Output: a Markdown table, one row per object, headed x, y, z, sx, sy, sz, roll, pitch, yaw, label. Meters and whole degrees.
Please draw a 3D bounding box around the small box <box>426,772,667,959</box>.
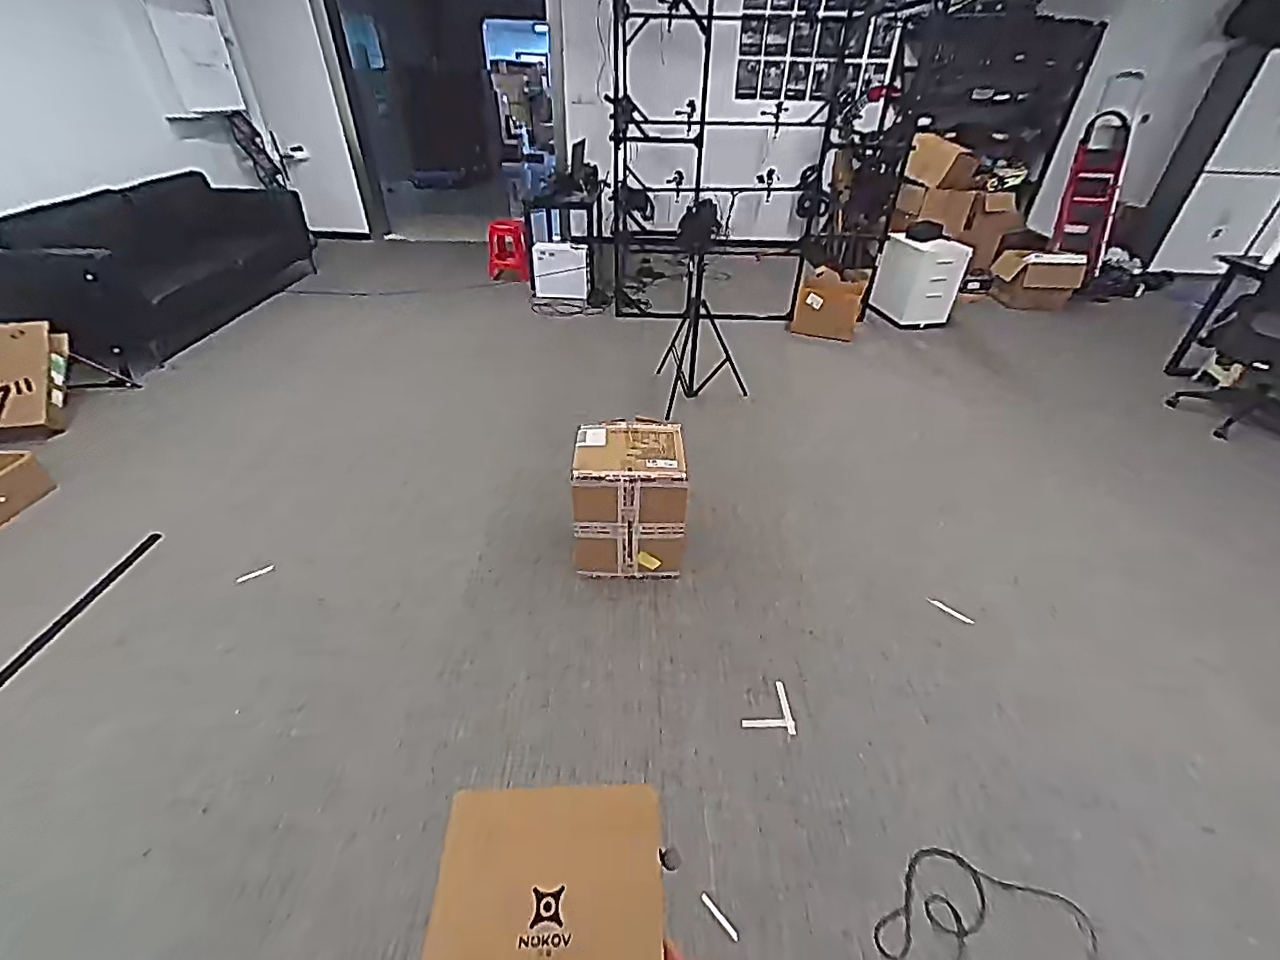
| x | y | z | sx | sy | sz | roll | pitch | yaw | label |
| --- | --- | --- | --- | --- | --- | --- | --- | --- | --- |
| -0.064 | 0.363 | 0.443 | 0.168 | 0.176 | 0.179 | -2 | 43 | 0 | small box |
